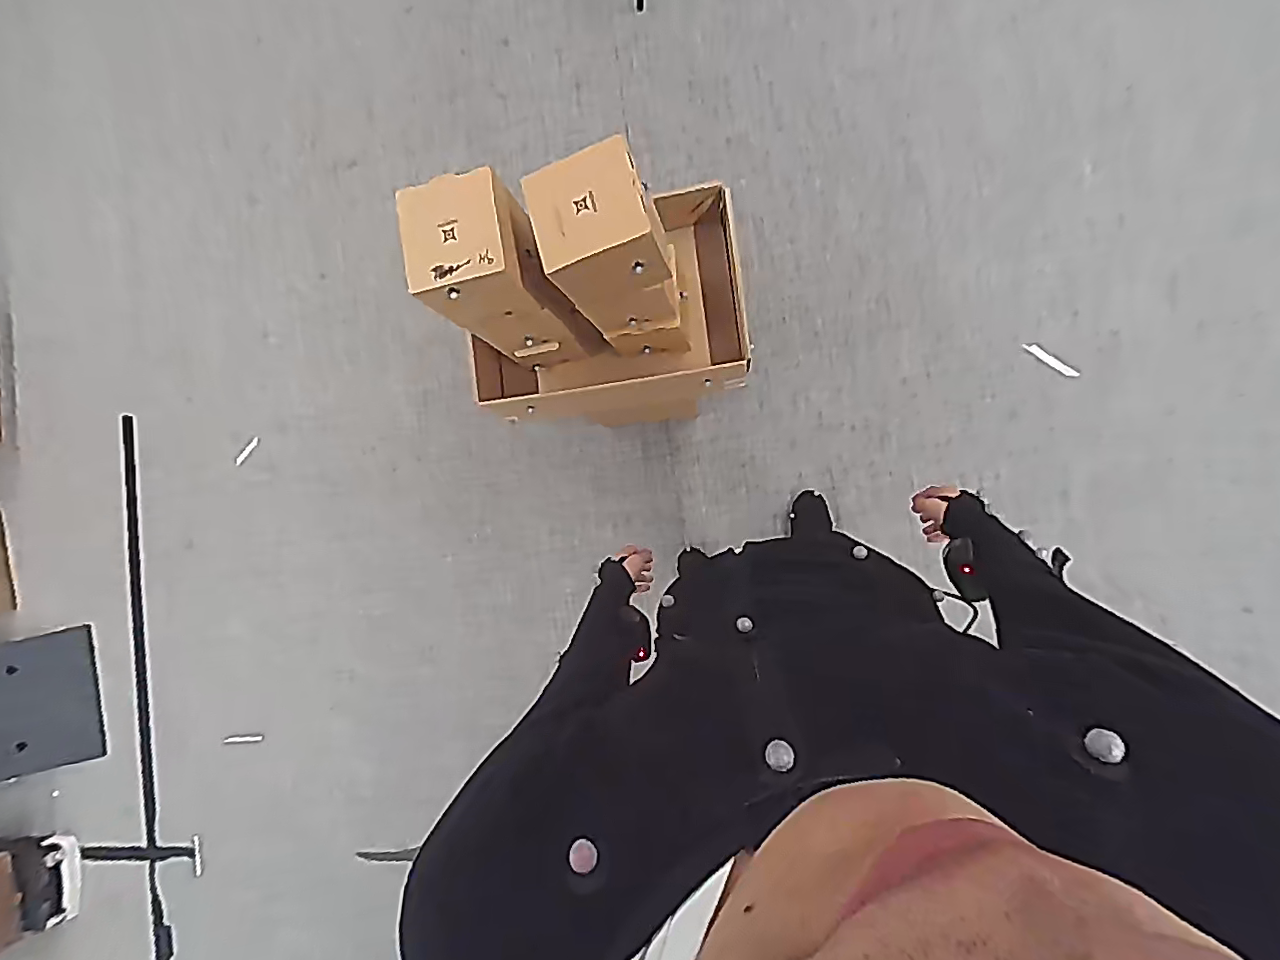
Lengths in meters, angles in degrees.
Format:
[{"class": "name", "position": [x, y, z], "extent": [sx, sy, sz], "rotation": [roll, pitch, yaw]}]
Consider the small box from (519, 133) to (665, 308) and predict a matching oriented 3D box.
[{"class": "small box", "position": [-0.066, -0.407, 0.881], "extent": [0.179, 0.176, 0.168], "rotation": [-16, 84, 14]}]

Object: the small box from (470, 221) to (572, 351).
[{"class": "small box", "position": [-0.245, -0.376, 1.078], "extent": [0.168, 0.176, 0.179], "rotation": [-10, 86, 10]}]

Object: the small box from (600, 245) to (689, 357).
[{"class": "small box", "position": [0.013, -0.388, 1.197], "extent": [0.168, 0.176, 0.179], "rotation": [-5, 87, 14]}]

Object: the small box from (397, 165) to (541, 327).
[{"class": "small box", "position": [-0.282, -0.384, 0.916], "extent": [0.168, 0.176, 0.179], "rotation": [-10, 84, 11]}]
